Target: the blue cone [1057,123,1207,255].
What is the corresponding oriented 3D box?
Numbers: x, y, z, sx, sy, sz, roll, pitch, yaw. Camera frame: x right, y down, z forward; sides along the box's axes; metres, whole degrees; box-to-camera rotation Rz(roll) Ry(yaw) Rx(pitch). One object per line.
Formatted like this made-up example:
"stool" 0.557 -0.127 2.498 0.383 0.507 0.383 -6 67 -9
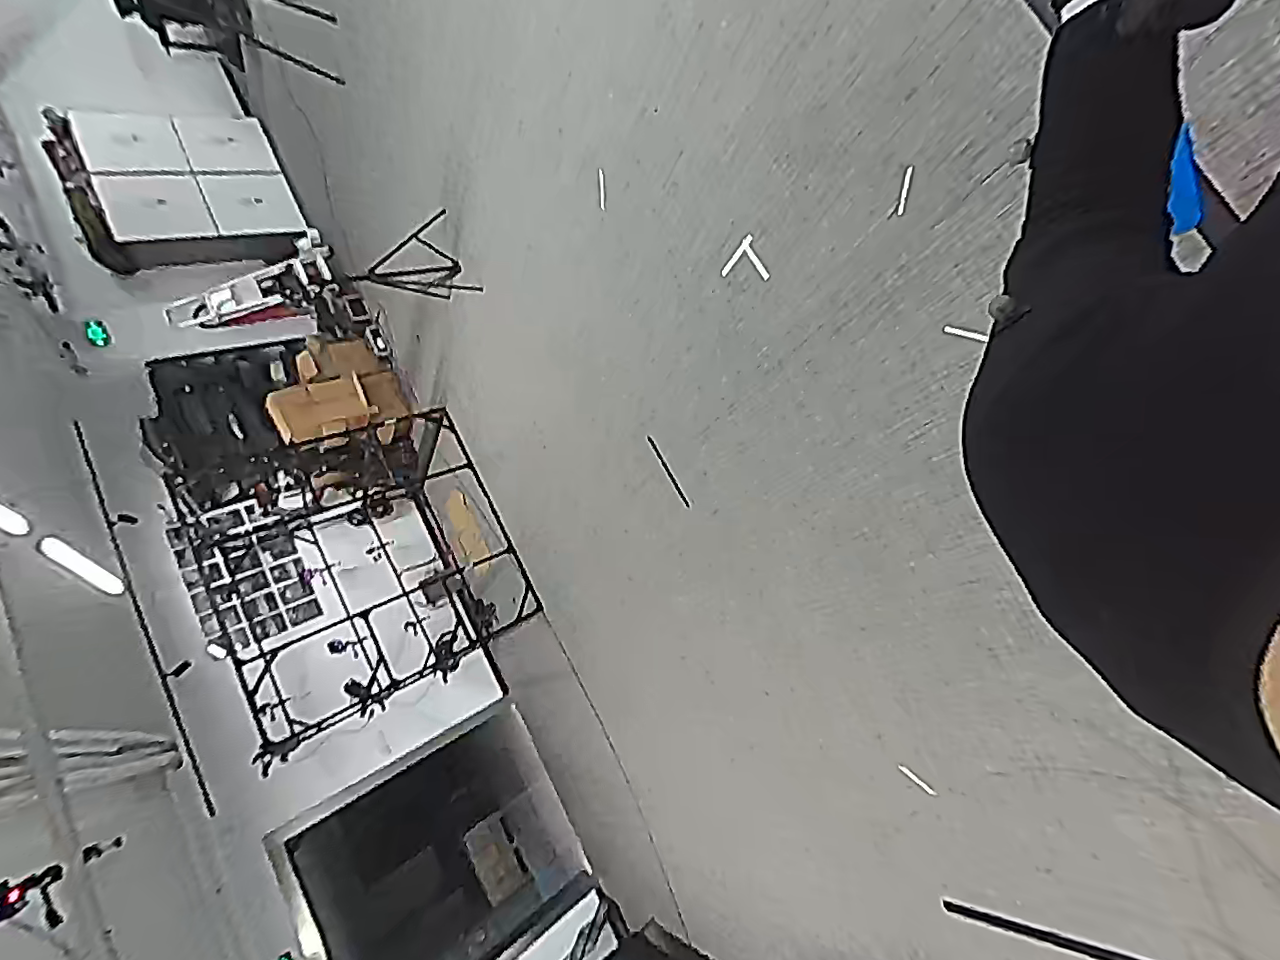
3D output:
"blue cone" 0.842 -0.514 0.976 0.193 0.380 0.192 -3 107 57
